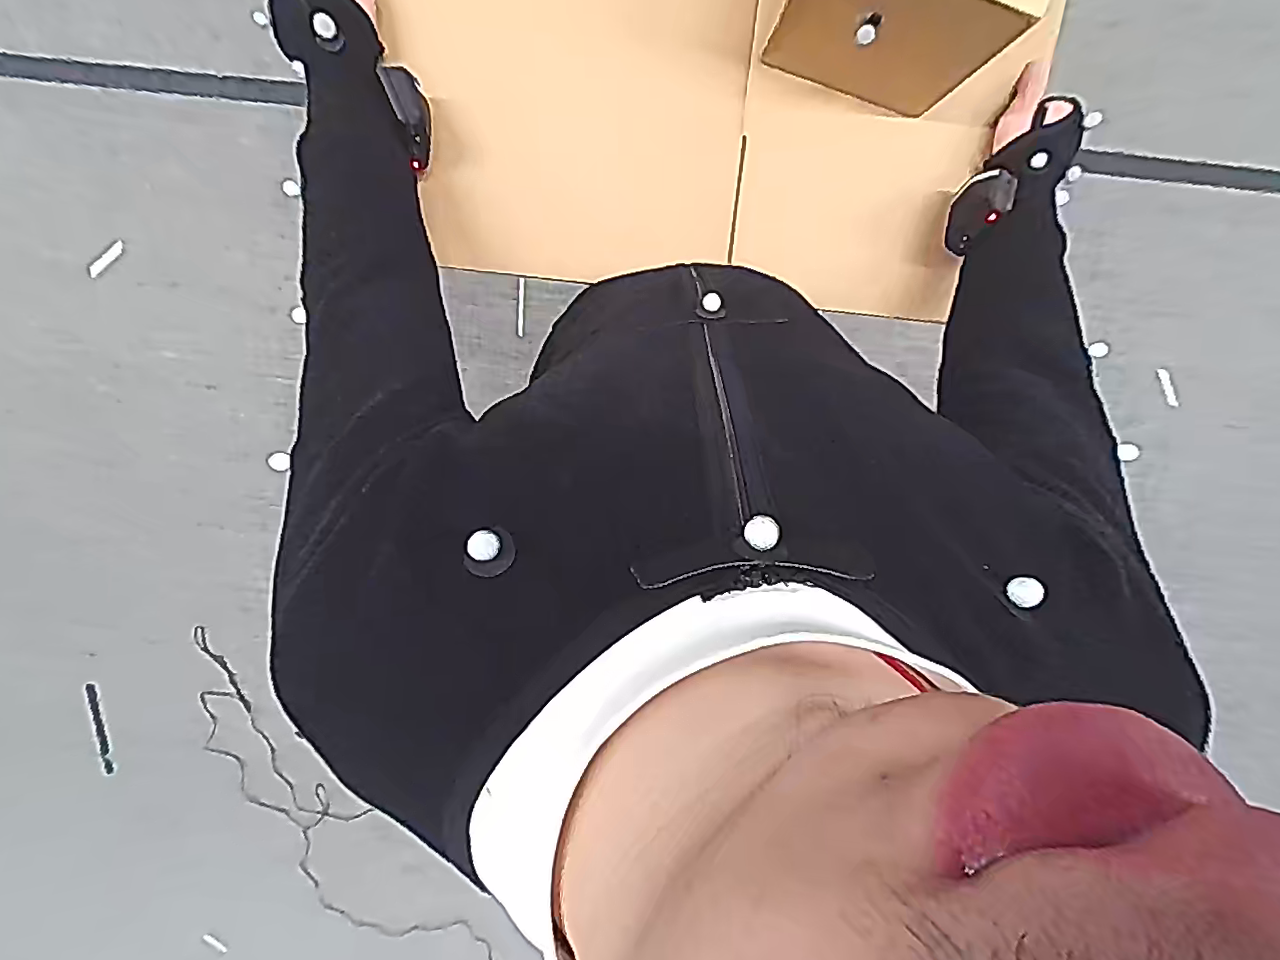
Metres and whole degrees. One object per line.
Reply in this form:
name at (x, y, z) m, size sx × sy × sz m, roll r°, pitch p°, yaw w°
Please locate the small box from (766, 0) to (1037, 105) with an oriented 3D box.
small box at (0.223, -0.453, 0.448) m, size 0.179 × 0.176 × 0.168 m, roll 16°, pitch 102°, yaw -5°
